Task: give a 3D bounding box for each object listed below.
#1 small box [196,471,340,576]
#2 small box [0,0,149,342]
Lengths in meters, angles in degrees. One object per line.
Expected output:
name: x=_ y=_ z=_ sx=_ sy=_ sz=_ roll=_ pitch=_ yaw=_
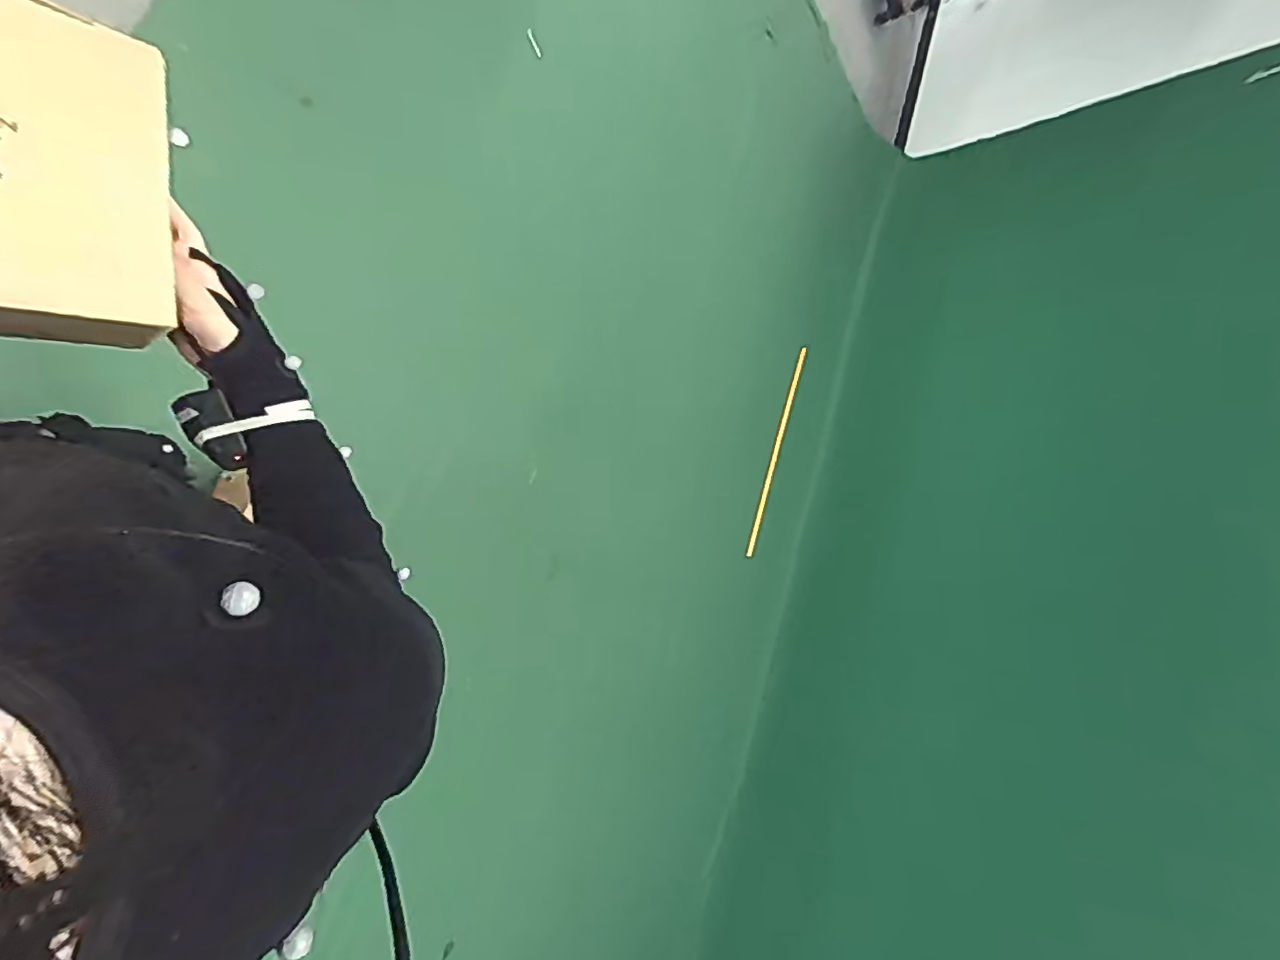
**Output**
small box: x=-0.761 y=0.086 z=1.107 sx=0.179 sy=0.176 sz=0.168 roll=29 pitch=73 yaw=-45
small box: x=-0.427 y=-0.189 z=0.336 sx=0.168 sy=0.176 sz=0.179 roll=-4 pitch=97 yaw=-49
